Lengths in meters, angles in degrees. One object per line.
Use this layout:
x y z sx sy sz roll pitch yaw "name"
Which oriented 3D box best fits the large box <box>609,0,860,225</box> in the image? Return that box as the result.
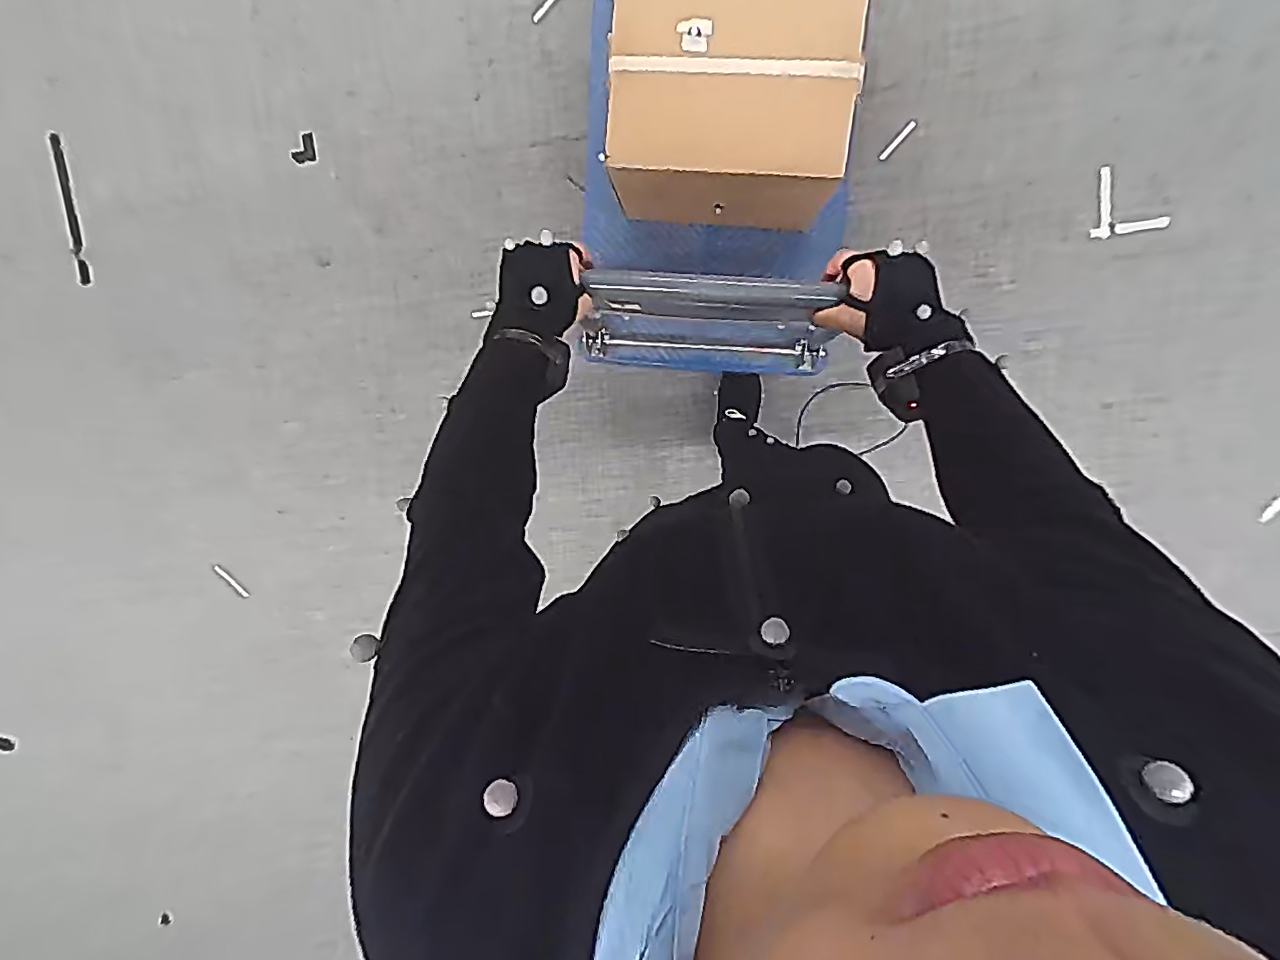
0.169 -0.705 1.052 0.408 0.320 0.320 5 99 6 "large box"
